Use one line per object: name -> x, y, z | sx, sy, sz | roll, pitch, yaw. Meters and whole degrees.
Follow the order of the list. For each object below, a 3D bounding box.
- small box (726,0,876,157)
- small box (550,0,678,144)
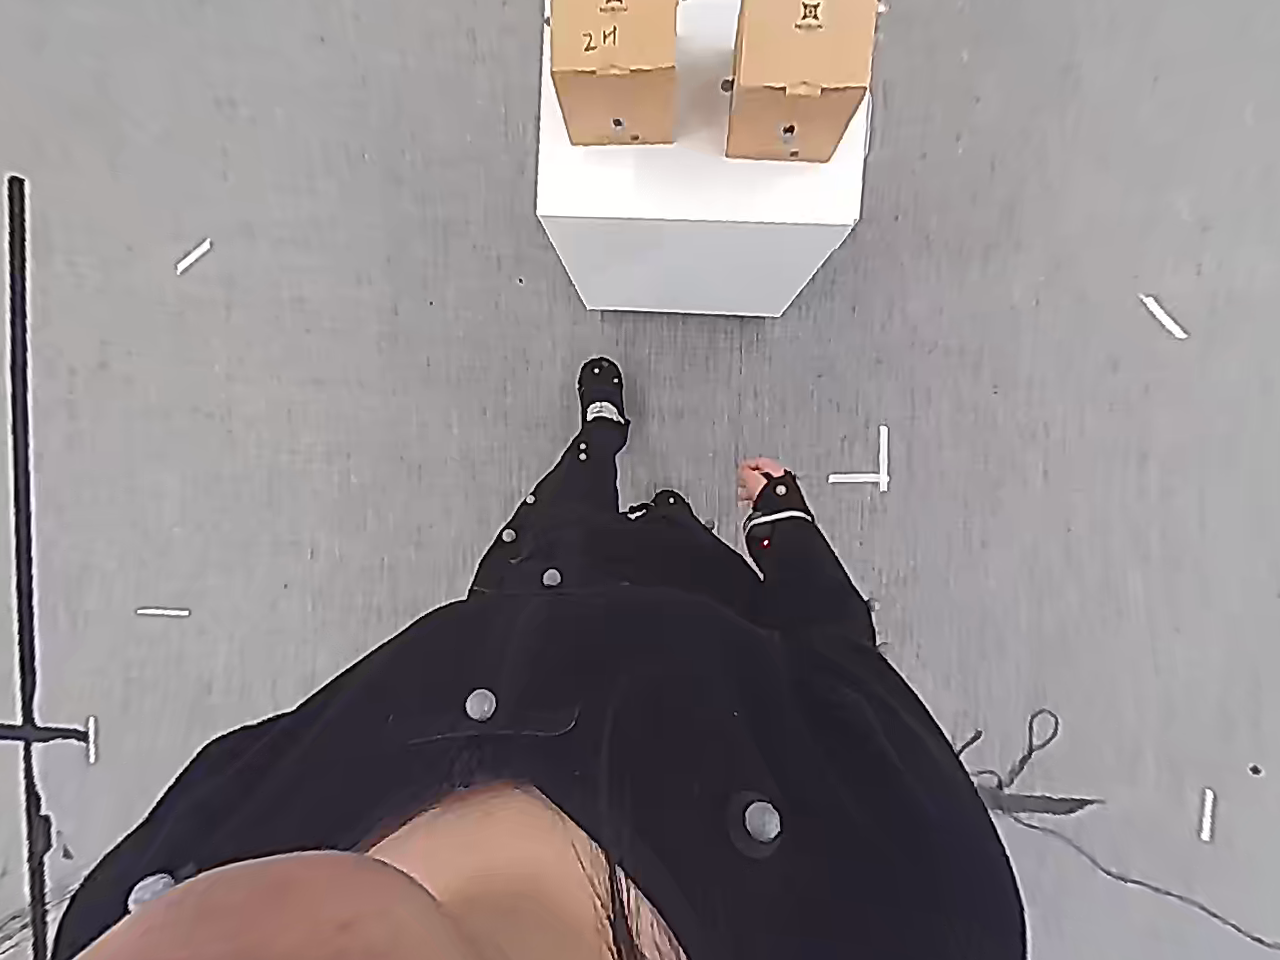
small box -> 0.217, -0.587, 0.763 | 0.168, 0.176, 0.179 | 5, 94, 2
small box -> -0.031, -0.618, 0.772 | 0.168, 0.176, 0.179 | 1, 93, 3
